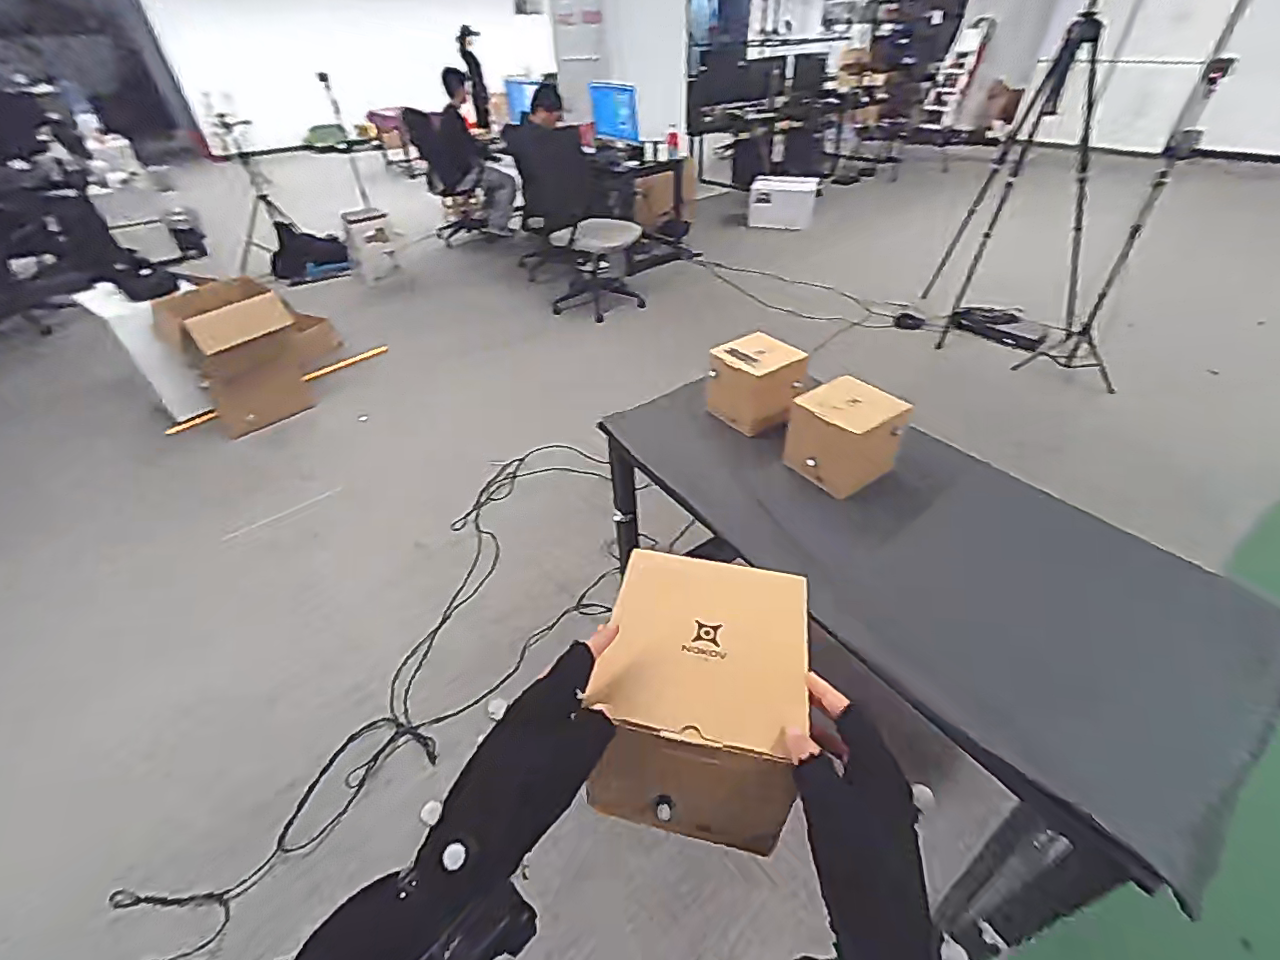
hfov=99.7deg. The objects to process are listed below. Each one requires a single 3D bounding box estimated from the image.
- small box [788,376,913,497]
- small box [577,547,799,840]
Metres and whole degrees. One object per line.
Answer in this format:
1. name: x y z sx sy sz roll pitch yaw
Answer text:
1. small box: 0.440 -0.094 1.157 0.179 0.176 0.168 -26 45 -24
2. small box: 0.046 0.192 0.500 0.168 0.176 0.179 8 39 8
